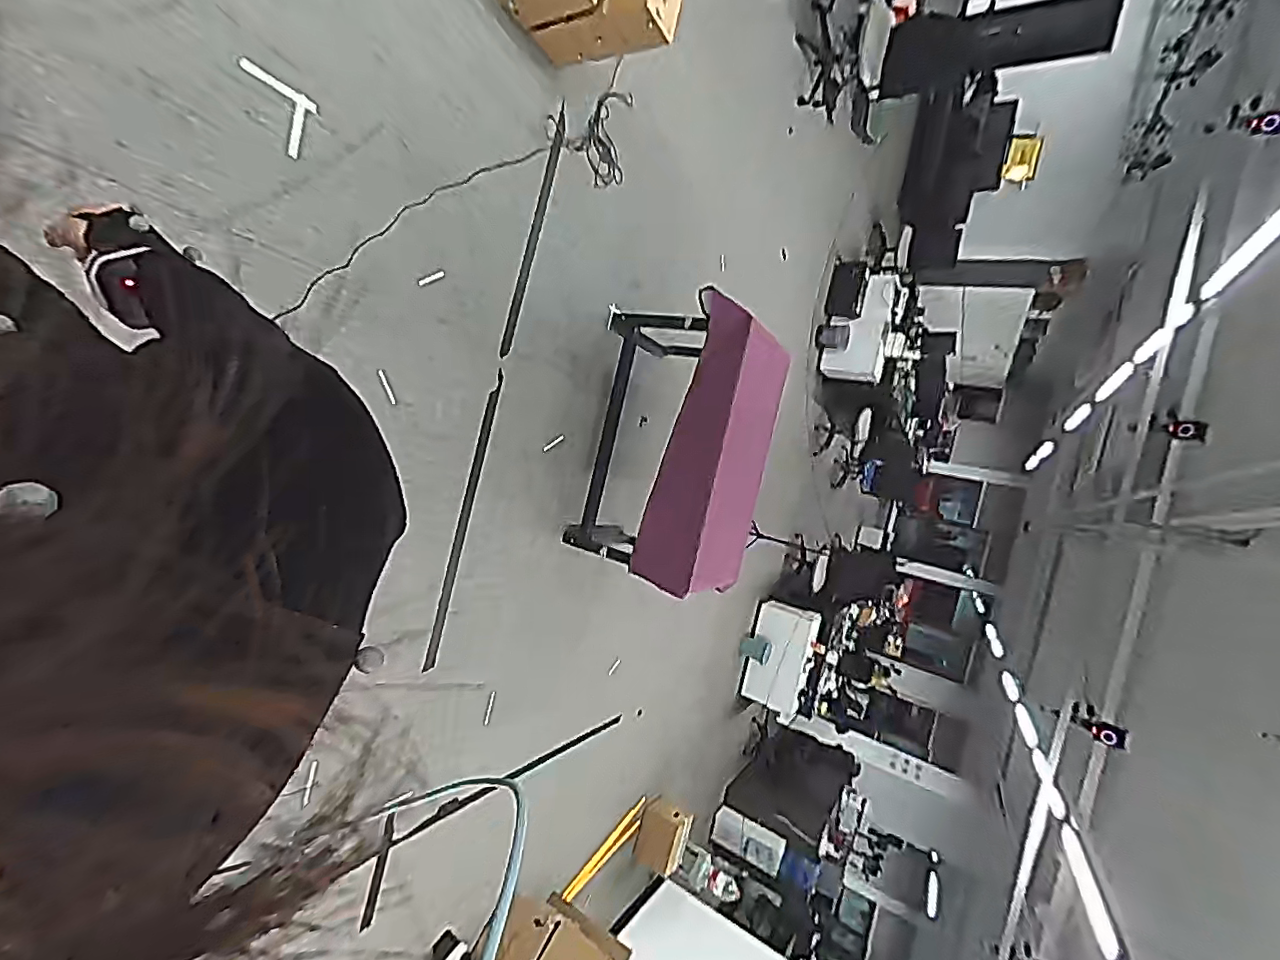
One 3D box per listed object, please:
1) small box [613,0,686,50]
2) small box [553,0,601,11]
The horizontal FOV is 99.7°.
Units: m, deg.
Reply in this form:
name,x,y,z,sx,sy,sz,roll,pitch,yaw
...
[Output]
name,x,y,z,sx,sy,sz,roll,pitch,yaw
small box,0.031,-1.561,1.764,0.168,0.176,0.179,10,93,-57
small box,-0.212,-1.612,1.676,0.179,0.176,0.168,20,85,-56
